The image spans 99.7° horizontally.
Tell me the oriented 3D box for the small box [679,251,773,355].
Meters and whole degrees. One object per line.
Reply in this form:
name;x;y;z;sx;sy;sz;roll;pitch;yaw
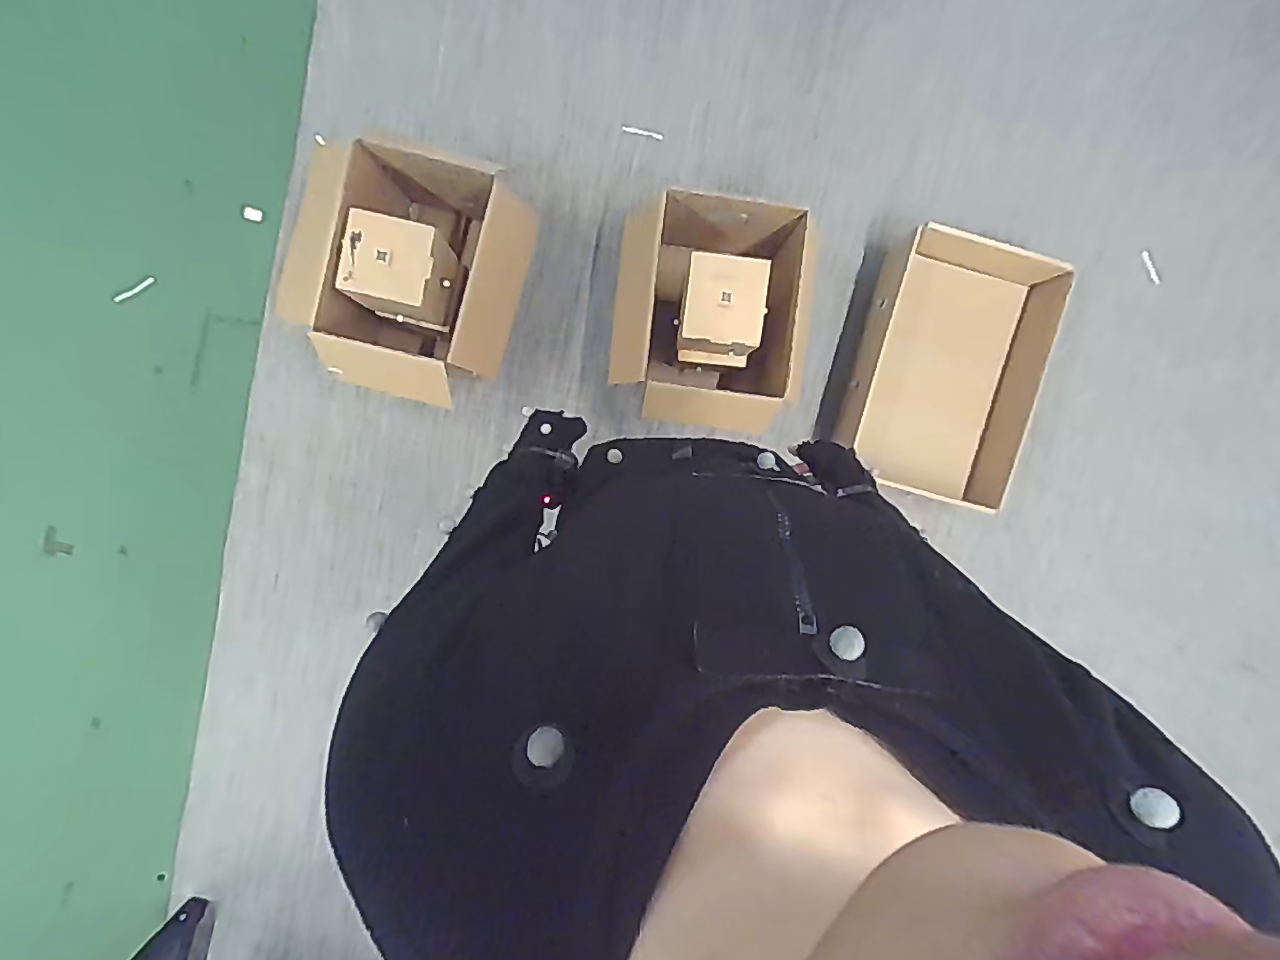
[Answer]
small box;0.178;-0.376;1.179;0.168;0.176;0.179;6;95;-2
